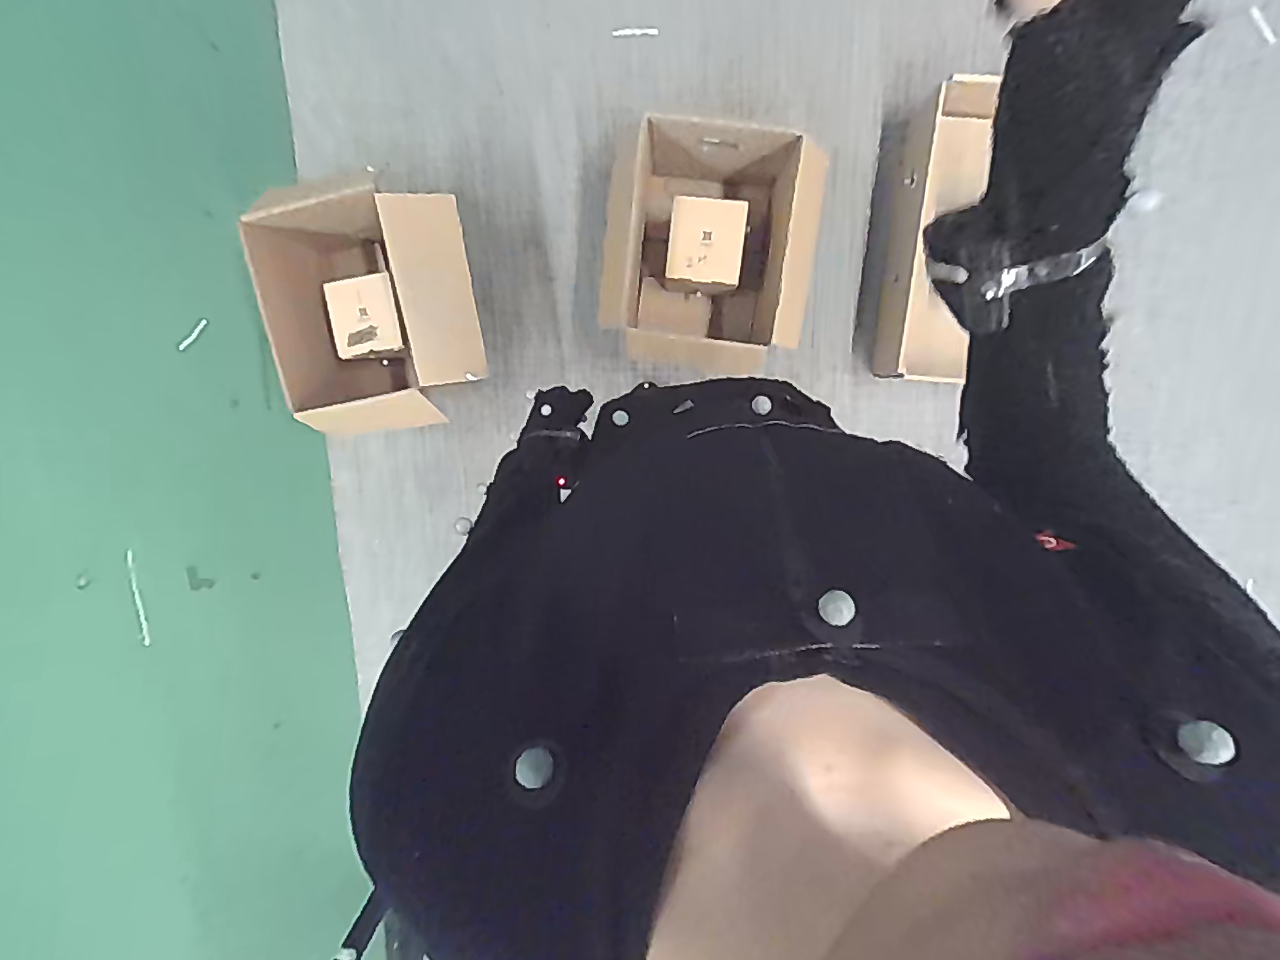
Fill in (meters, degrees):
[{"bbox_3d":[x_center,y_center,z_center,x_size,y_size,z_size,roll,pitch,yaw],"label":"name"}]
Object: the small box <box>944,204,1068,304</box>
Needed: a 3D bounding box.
[{"bbox_3d":[0.810,-0.500,1.214,0.168,0.176,0.179,0,100,3],"label":"small box"}]
